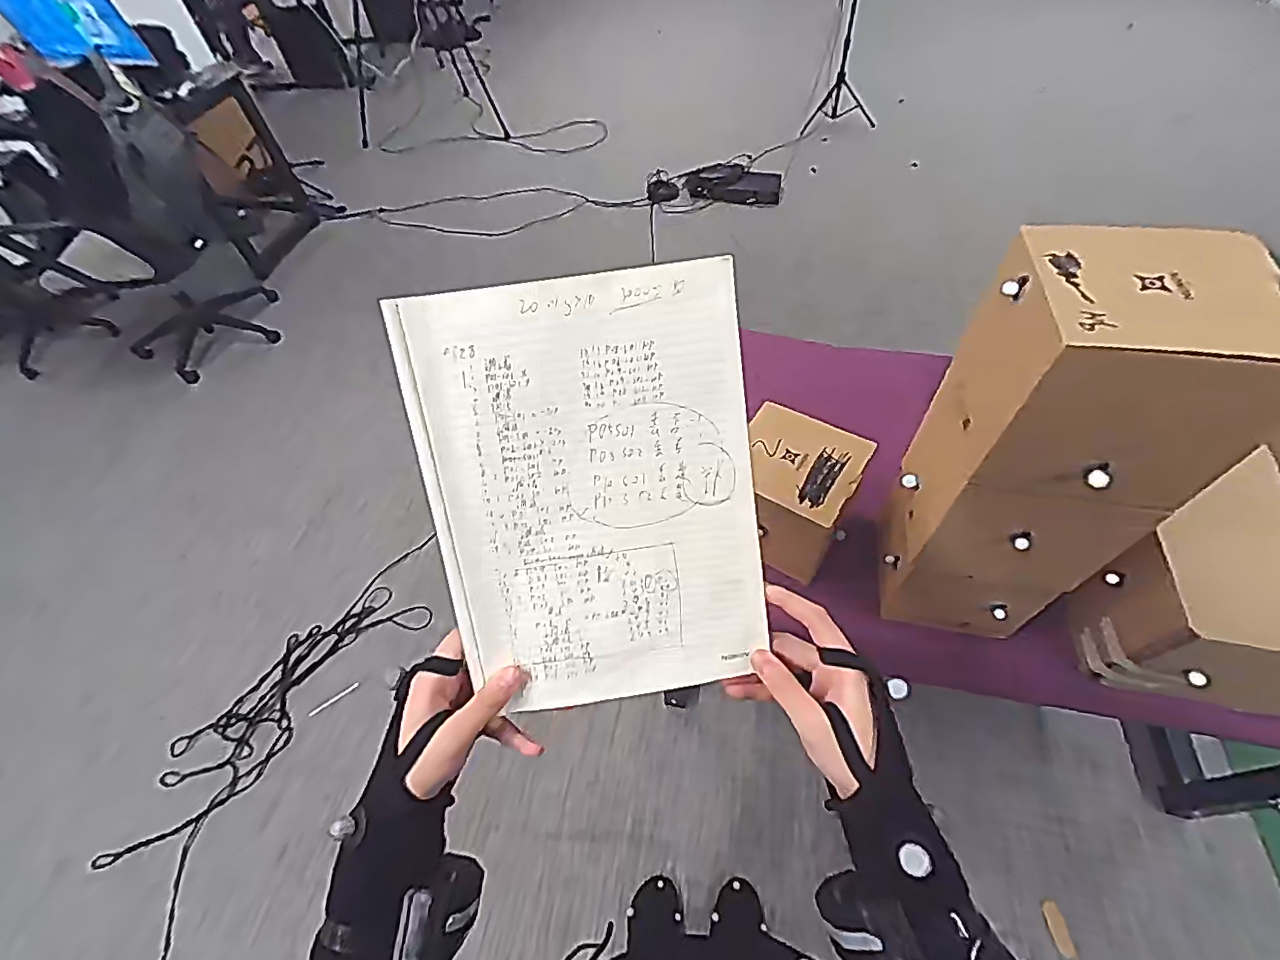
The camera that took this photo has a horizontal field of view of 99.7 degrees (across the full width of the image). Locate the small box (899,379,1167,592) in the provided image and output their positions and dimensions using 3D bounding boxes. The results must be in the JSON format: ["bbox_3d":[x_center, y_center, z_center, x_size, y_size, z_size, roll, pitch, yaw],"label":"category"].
[{"bbox_3d":[0.413,0.009,0.608,0.179,0.176,0.168,8,53,11],"label":"small box"}]

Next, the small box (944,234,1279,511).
[{"bbox_3d":[0.401,-0.091,0.479,0.179,0.176,0.168,8,52,10],"label":"small box"}]
